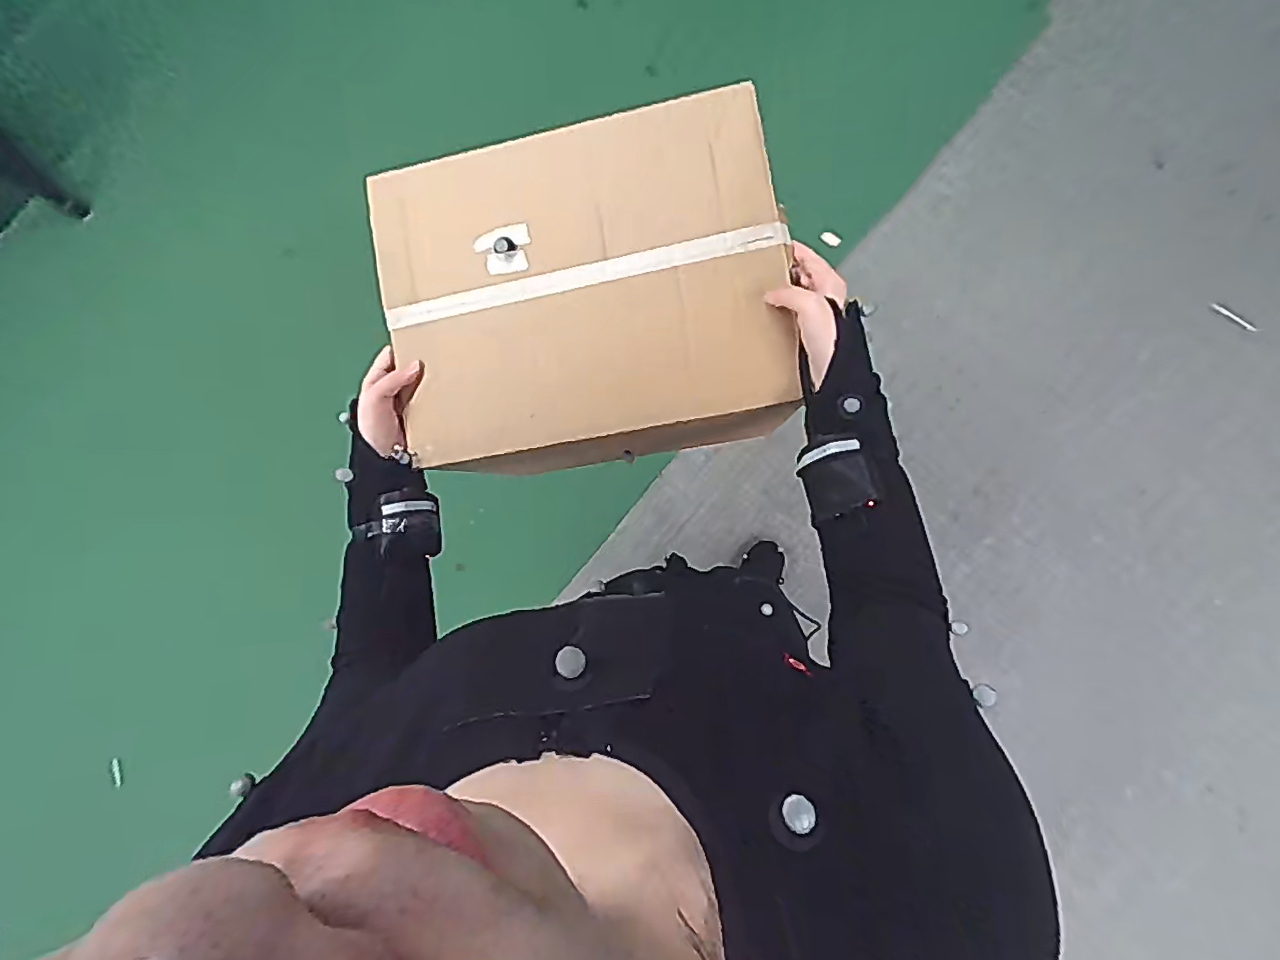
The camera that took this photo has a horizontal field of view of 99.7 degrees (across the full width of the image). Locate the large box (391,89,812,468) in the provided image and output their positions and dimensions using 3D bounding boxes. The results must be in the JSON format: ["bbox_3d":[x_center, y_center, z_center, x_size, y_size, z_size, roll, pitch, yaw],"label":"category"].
[{"bbox_3d":[-0.029,-0.199,0.696,0.408,0.320,0.320,-9,87,8],"label":"large box"}]
